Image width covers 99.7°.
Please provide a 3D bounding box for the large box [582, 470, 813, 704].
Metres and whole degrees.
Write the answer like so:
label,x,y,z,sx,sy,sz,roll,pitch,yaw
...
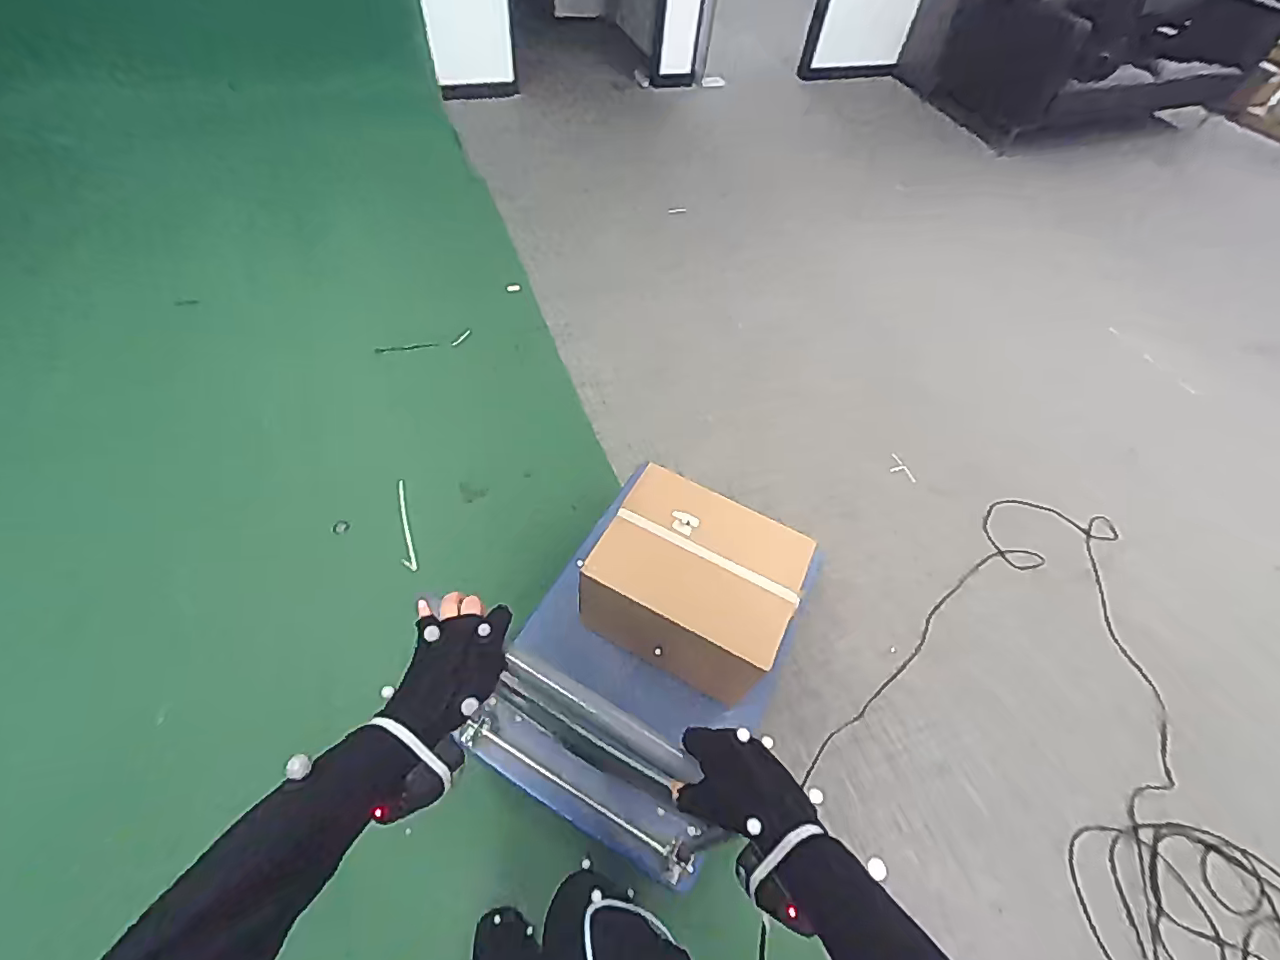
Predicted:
label,x,y,z,sx,sy,sz,roll,pitch,yaw
large box,0.118,0.248,1.233,0.408,0.320,0.320,26,56,12
